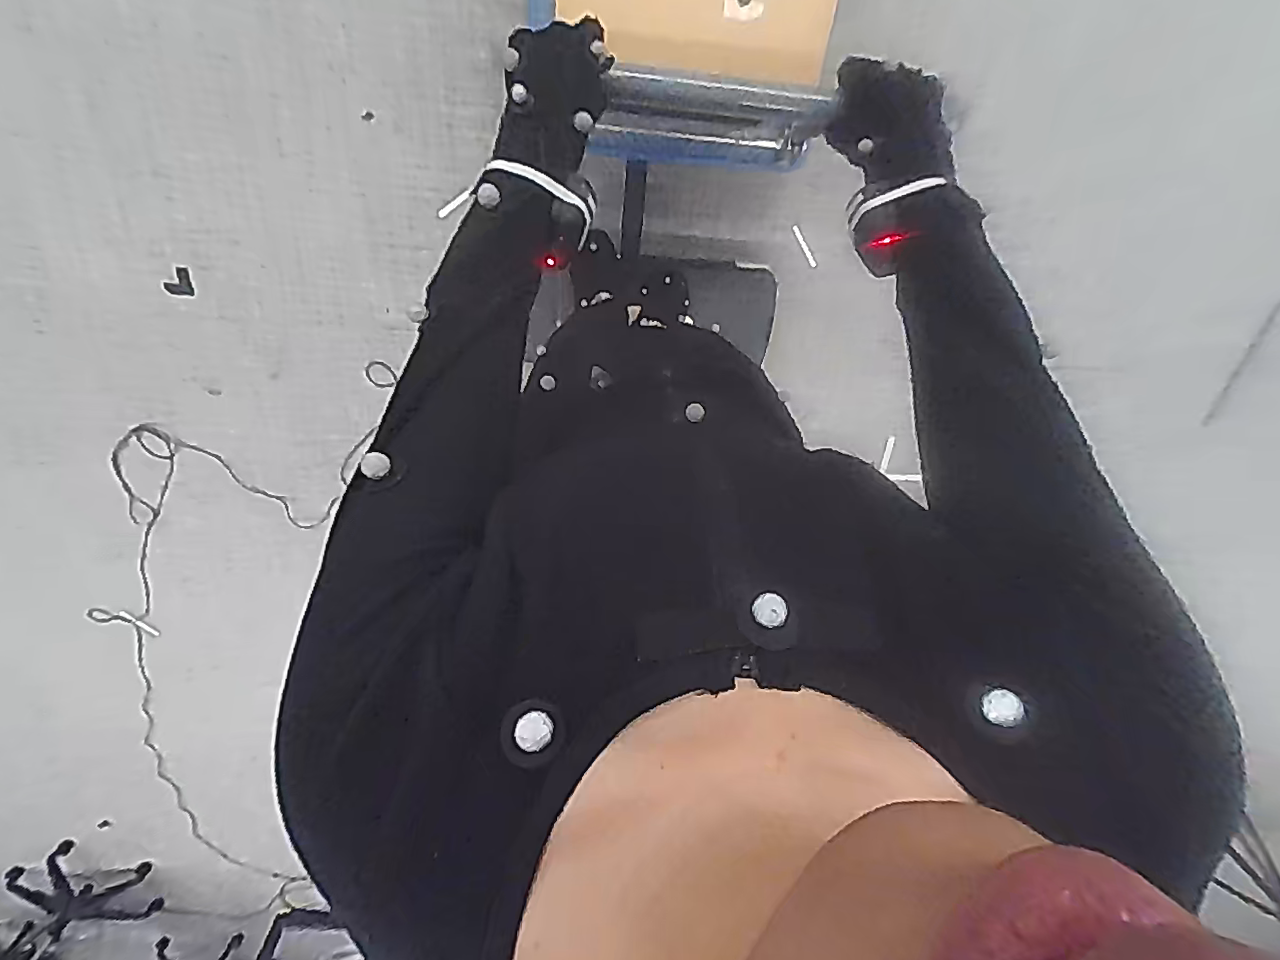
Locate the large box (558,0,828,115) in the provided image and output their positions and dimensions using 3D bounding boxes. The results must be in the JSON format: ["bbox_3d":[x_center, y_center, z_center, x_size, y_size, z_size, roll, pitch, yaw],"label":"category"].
[{"bbox_3d":[0.073,-0.818,0.895,0.408,0.320,0.320,2,120,-6],"label":"large box"}]
